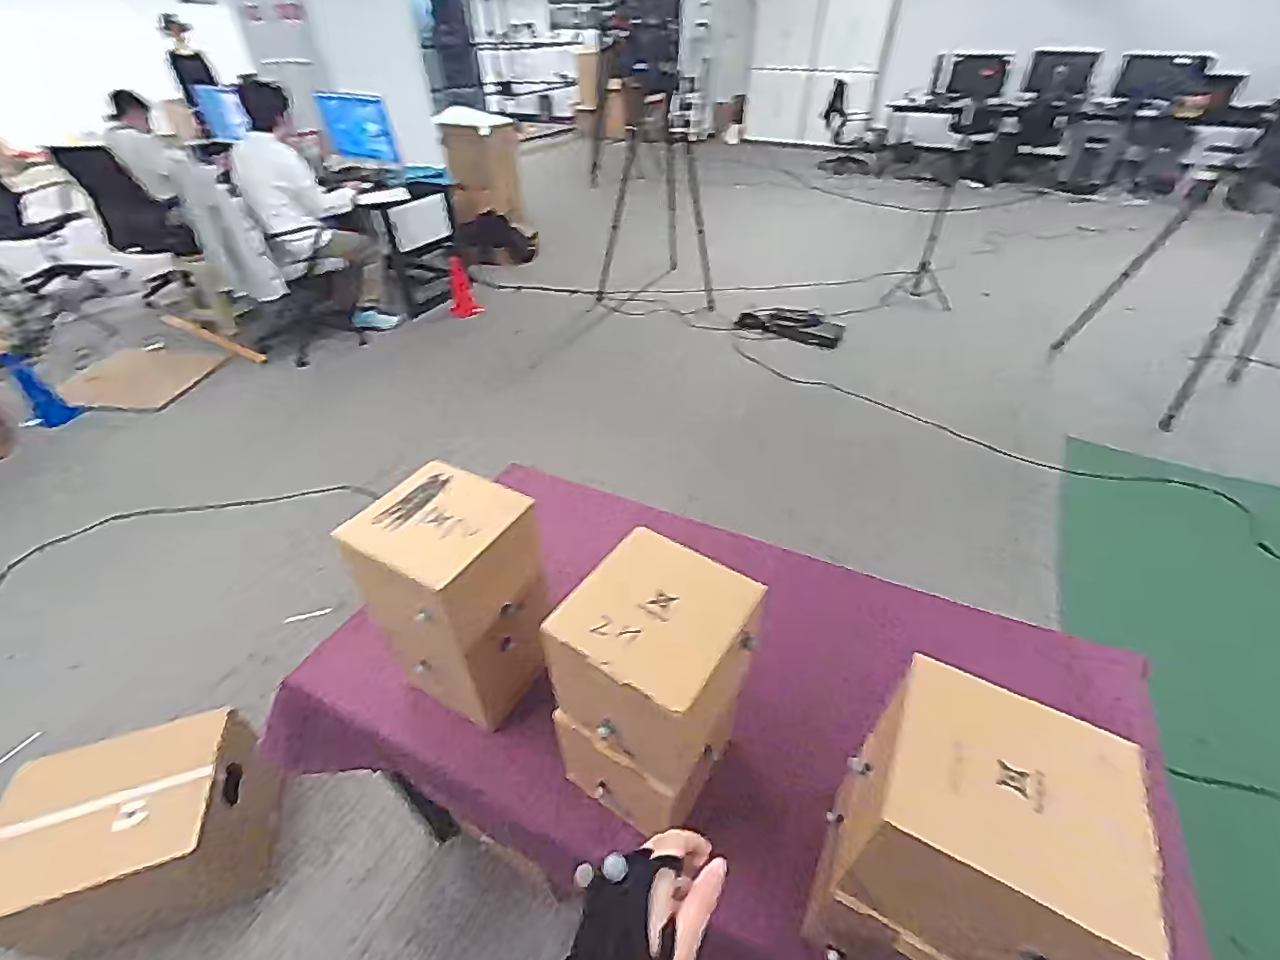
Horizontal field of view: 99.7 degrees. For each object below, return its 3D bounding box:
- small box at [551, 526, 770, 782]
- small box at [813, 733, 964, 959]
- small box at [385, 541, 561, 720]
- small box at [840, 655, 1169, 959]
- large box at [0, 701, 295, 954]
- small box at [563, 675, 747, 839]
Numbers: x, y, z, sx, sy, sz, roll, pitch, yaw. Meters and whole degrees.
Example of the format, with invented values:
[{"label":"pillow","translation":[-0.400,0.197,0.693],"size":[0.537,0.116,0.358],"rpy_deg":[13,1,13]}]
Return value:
[{"label":"small box","translation":[0.024,0.190,0.607],"size":[0.168,0.176,0.179],"rpy_deg":[24,47,27]},{"label":"small box","translation":[0.296,0.422,0.580],"size":[0.168,0.176,0.179],"rpy_deg":[19,44,23]},{"label":"small box","translation":[-0.241,0.228,0.819],"size":[0.179,0.176,0.168],"rpy_deg":[19,45,23]},{"label":"small box","translation":[0.299,0.297,0.474],"size":[0.179,0.176,0.168],"rpy_deg":[20,44,24]},{"label":"large box","translation":[-1.077,0.772,1.220],"size":[0.408,0.320,0.320],"rpy_deg":[-12,43,-14]},{"label":"small box","translation":[0.021,0.319,0.710],"size":[0.168,0.176,0.179],"rpy_deg":[23,47,26]}]
